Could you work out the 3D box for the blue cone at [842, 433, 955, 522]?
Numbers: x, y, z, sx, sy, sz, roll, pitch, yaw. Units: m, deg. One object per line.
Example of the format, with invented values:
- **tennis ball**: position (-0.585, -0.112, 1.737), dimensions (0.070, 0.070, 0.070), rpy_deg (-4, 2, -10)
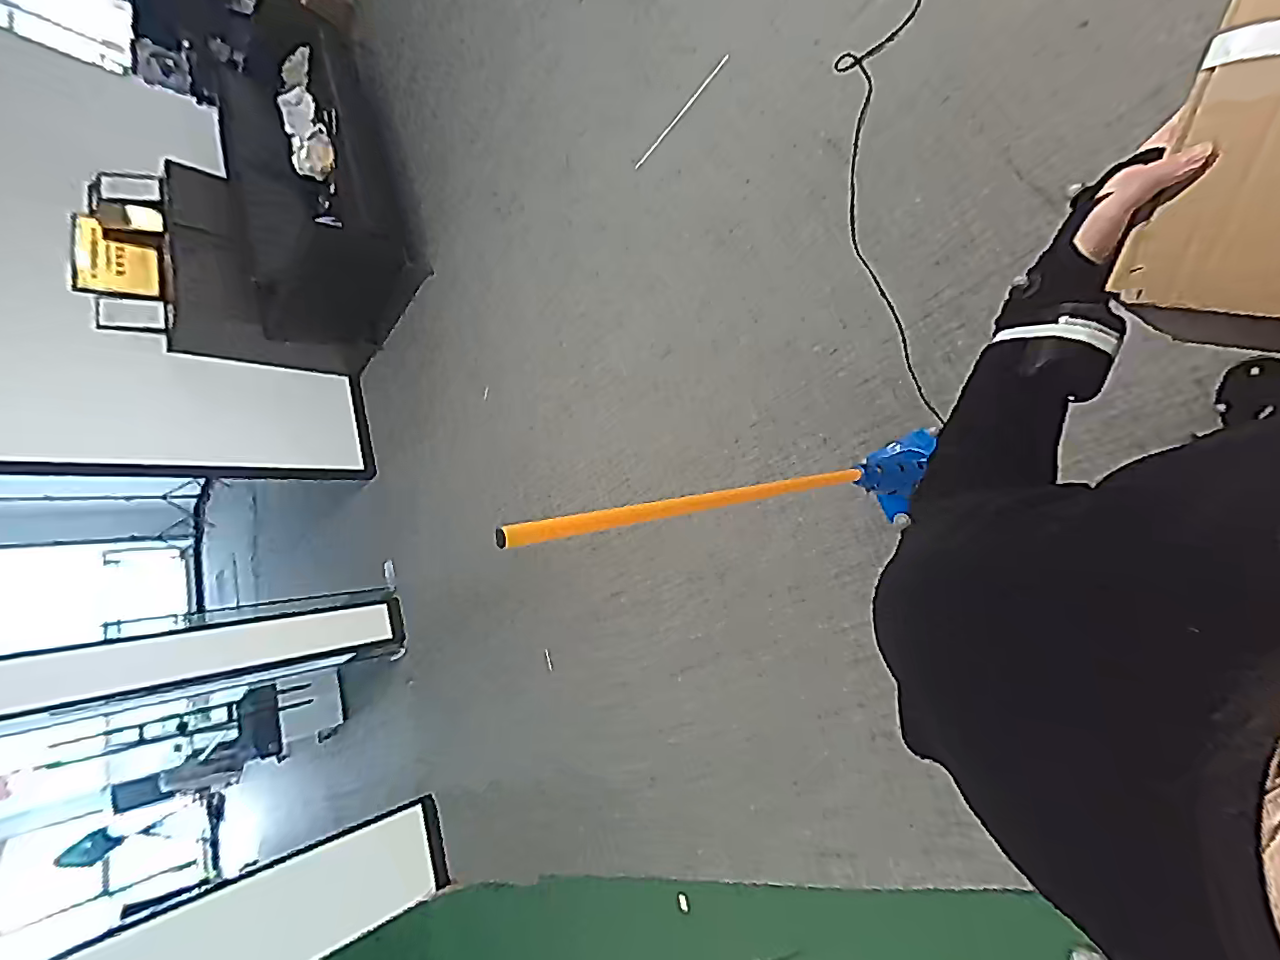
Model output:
- **blue cone**: position (0.580, -0.001, 1.286), dimensions (0.193, 0.380, 0.192), rpy_deg (-37, 65, 38)
